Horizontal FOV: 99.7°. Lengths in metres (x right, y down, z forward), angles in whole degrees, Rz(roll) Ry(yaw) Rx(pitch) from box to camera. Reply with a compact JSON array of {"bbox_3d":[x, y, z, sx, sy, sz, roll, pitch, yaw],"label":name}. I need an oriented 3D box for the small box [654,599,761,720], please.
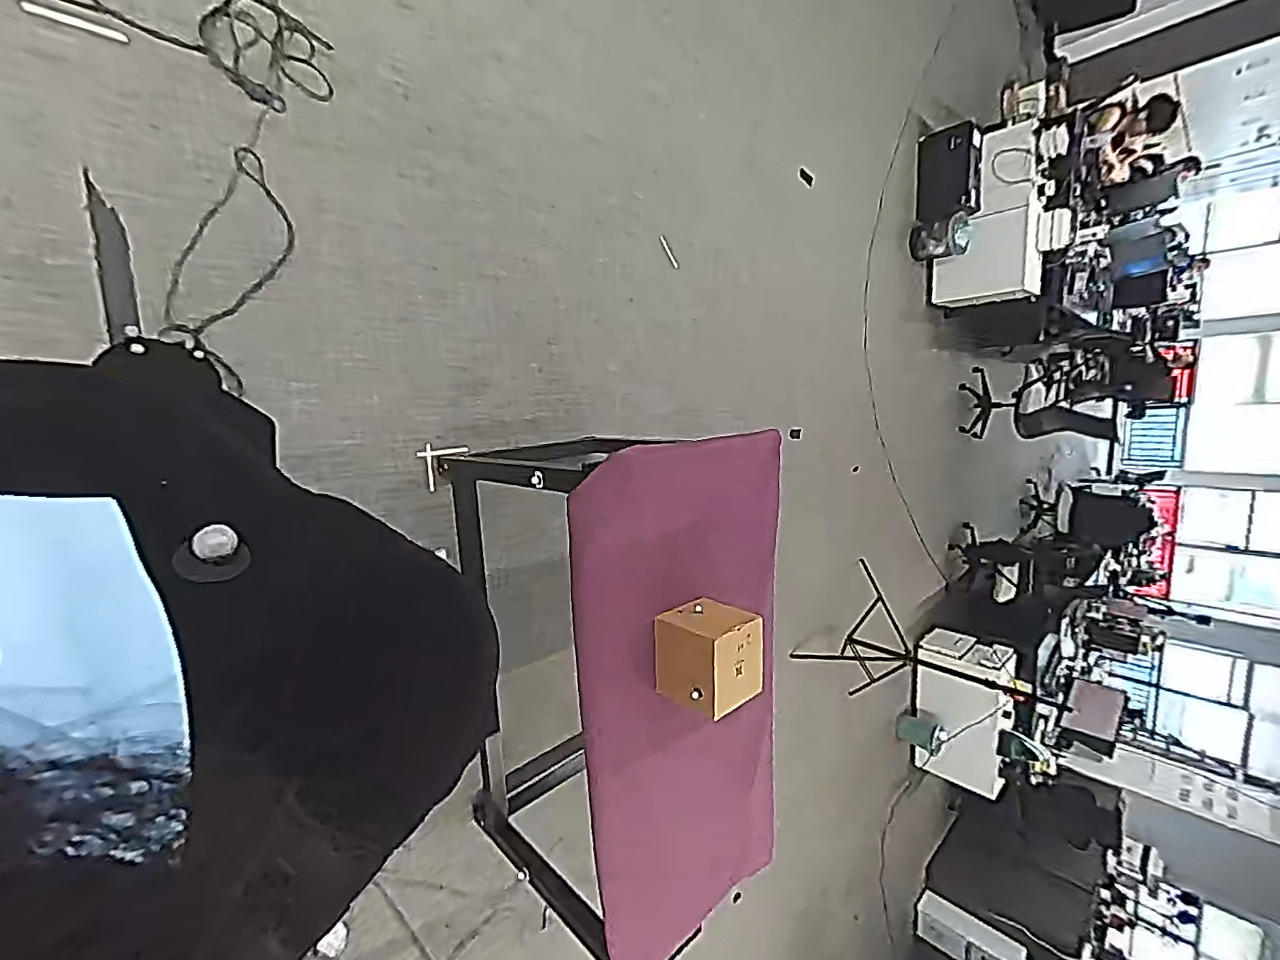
[{"bbox_3d":[0.143,0.379,1.173,0.168,0.176,0.179,-9,101,-43],"label":"small box"}]
